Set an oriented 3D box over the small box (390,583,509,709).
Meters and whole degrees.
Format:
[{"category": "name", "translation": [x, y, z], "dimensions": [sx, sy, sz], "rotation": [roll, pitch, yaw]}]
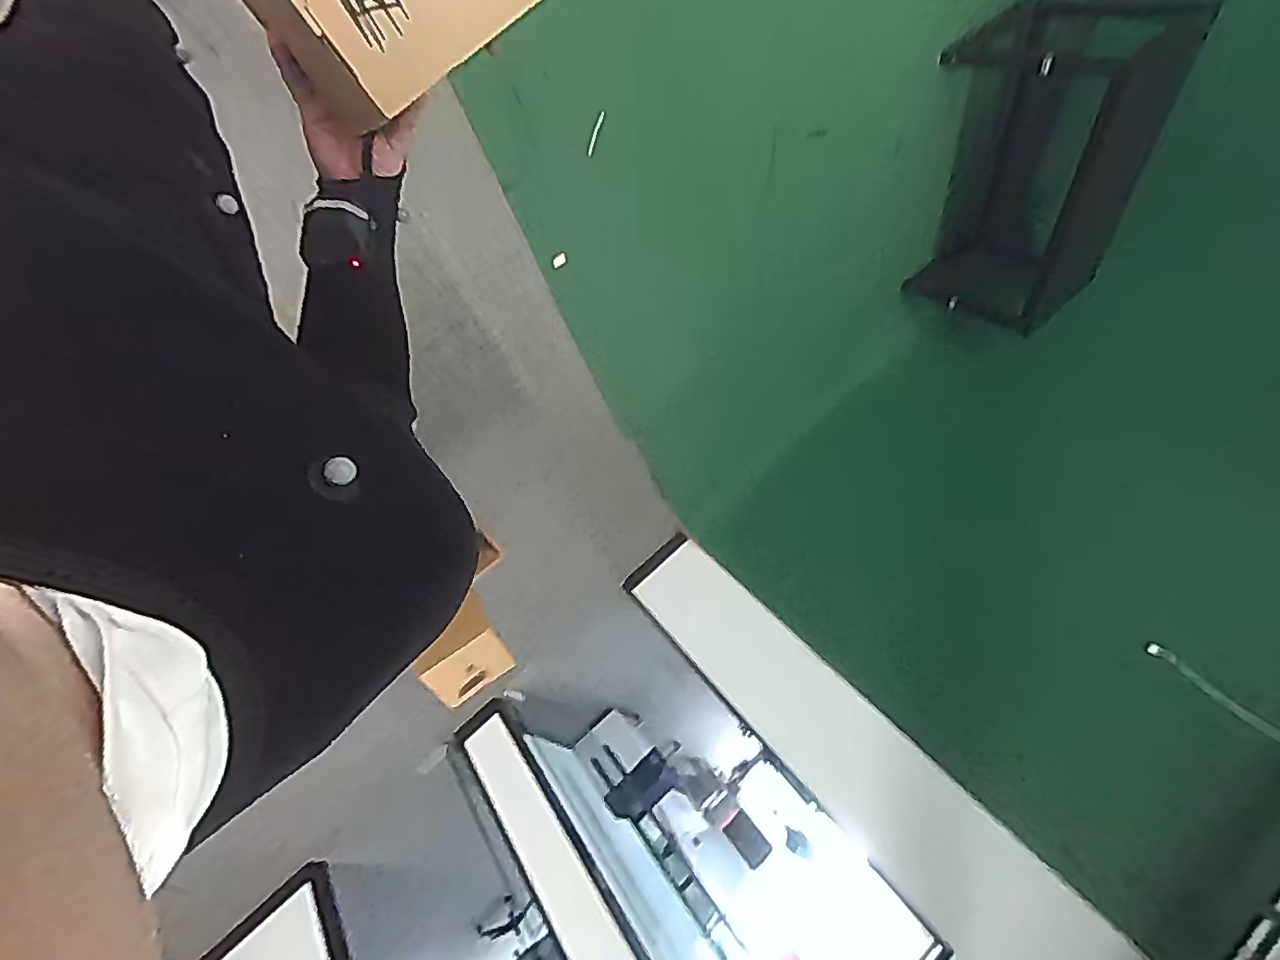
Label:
[{"category": "small box", "translation": [-0.423, 0.365, 1.206], "dimensions": [0.168, 0.176, 0.179], "rotation": [-33, 139, -19]}]
